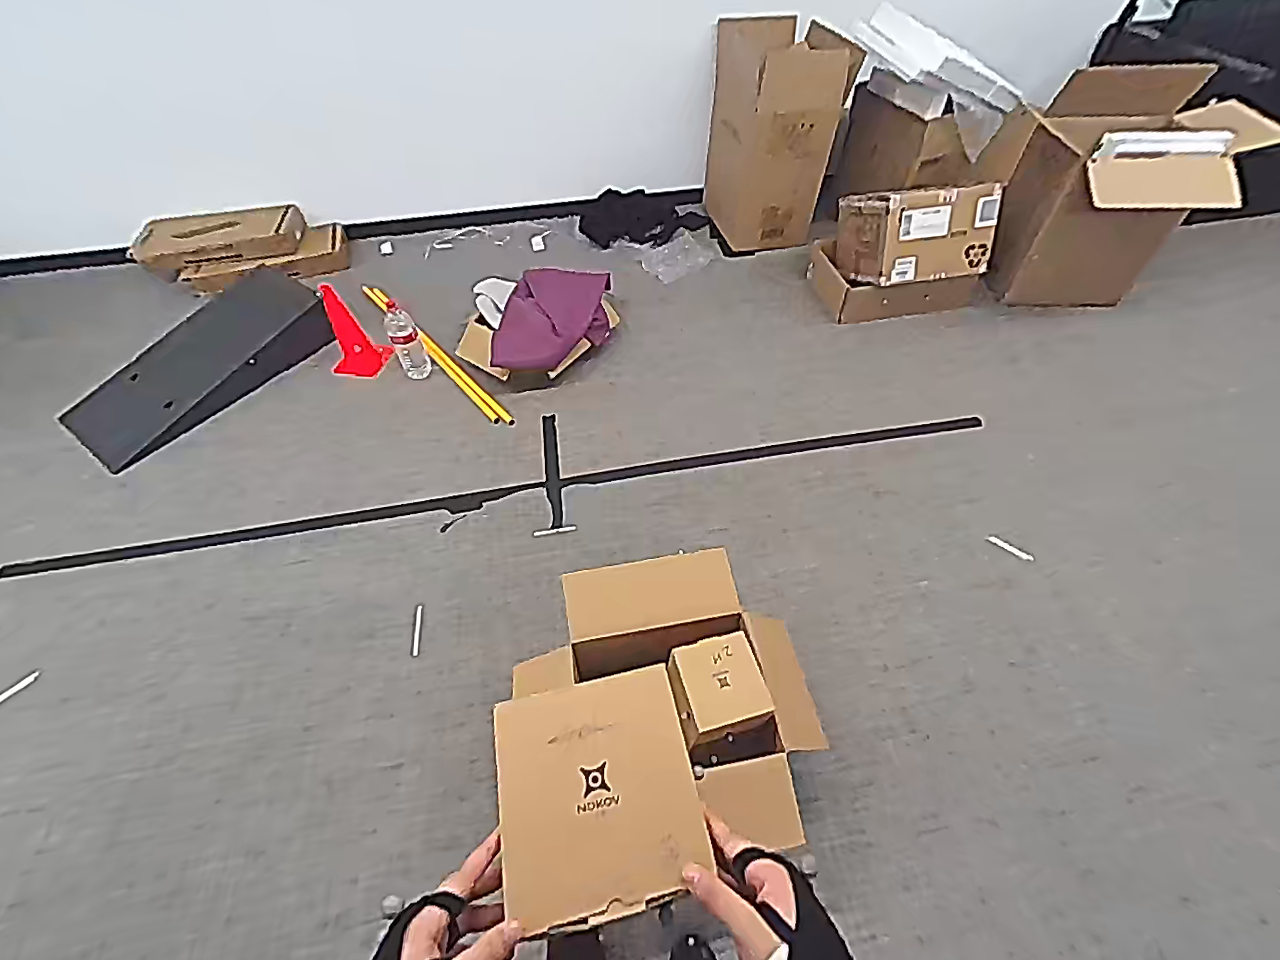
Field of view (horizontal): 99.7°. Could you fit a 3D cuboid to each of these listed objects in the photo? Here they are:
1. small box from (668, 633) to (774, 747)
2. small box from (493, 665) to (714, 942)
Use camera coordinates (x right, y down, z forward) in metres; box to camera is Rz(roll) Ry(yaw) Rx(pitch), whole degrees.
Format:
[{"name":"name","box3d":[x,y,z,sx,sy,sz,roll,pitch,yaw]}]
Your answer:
[{"name":"small box","box3d":[0.166,0.461,1.171,0.168,0.176,0.179,-11,53,-12]},{"name":"small box","box3d":[-0.035,0.307,0.519,0.168,0.176,0.179,-12,51,-7]}]
